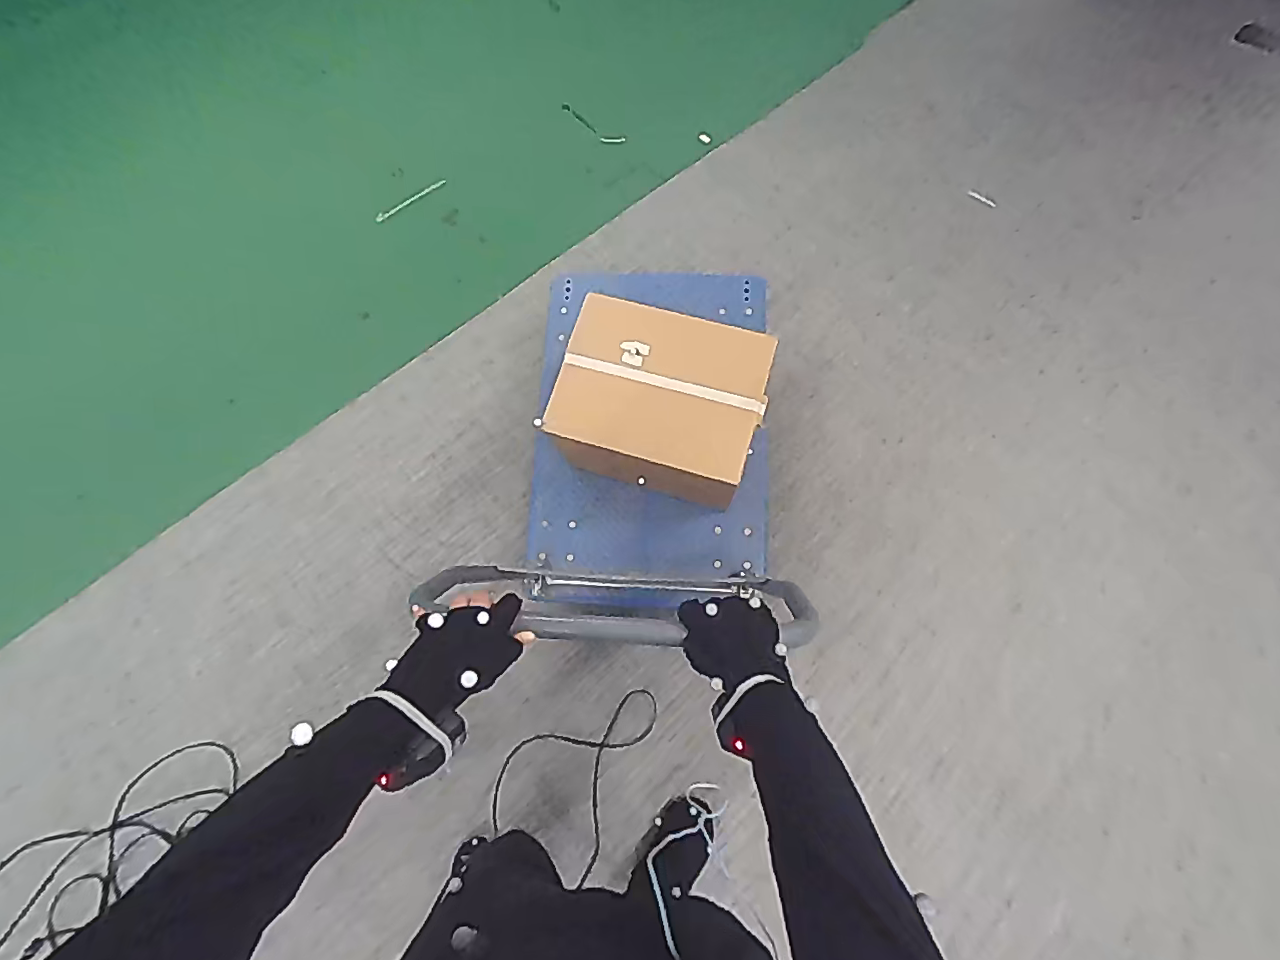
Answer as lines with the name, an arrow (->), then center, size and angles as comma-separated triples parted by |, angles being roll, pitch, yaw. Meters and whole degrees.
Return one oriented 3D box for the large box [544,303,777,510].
large box -> 0.056, -0.145, 1.209 | 0.408, 0.320, 0.320 | 16, 79, 9
